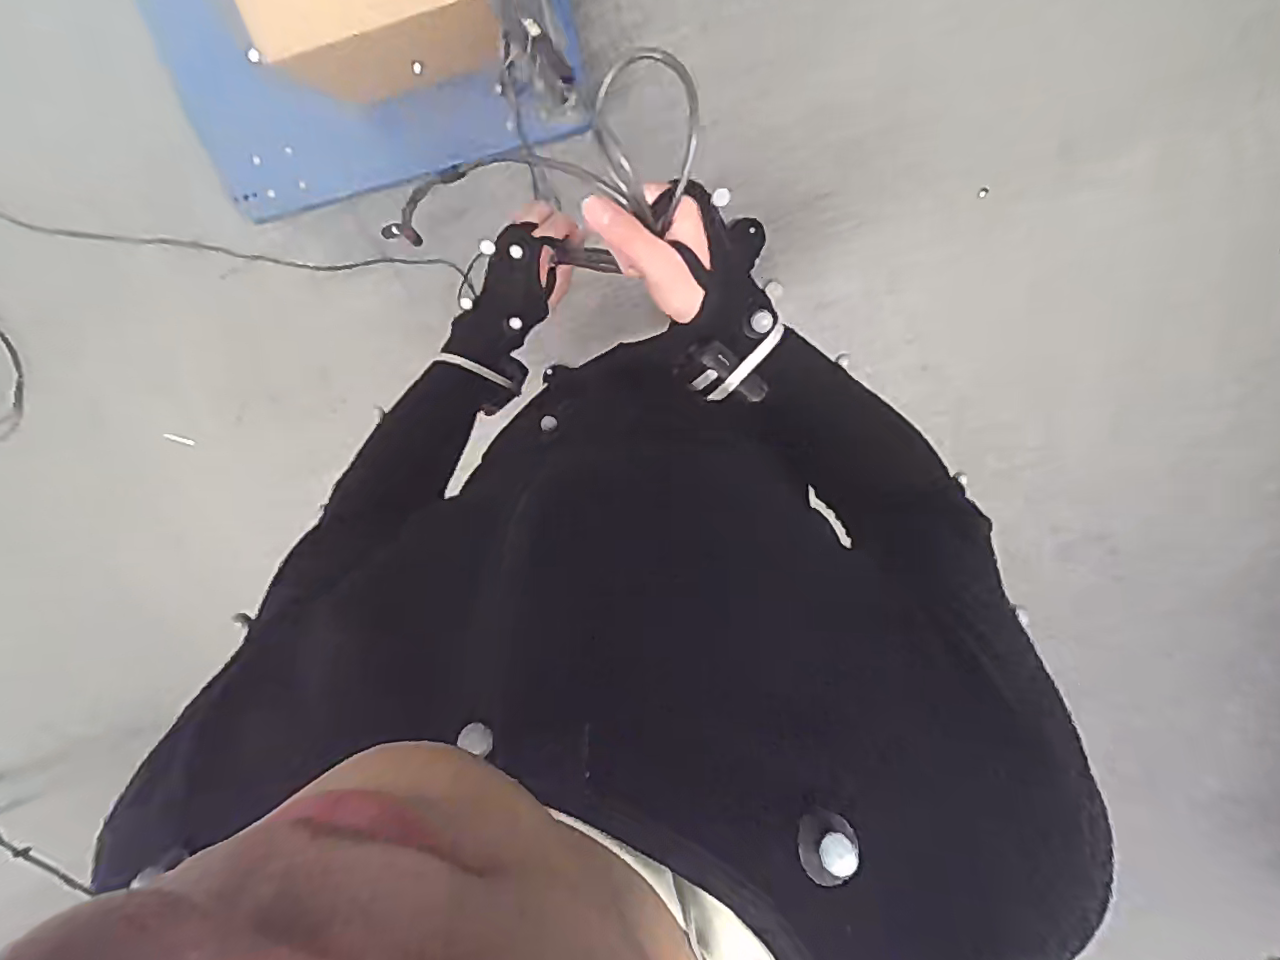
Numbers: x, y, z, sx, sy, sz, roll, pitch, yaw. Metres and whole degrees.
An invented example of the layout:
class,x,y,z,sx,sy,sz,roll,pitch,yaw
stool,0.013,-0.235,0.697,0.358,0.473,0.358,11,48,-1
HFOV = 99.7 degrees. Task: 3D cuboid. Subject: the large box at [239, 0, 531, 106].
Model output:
class,x,y,z,sx,sy,sz,roll,pitch,yaw
large box,-0.453,-0.918,0.952,0.408,0.320,0.320,-11,112,7
